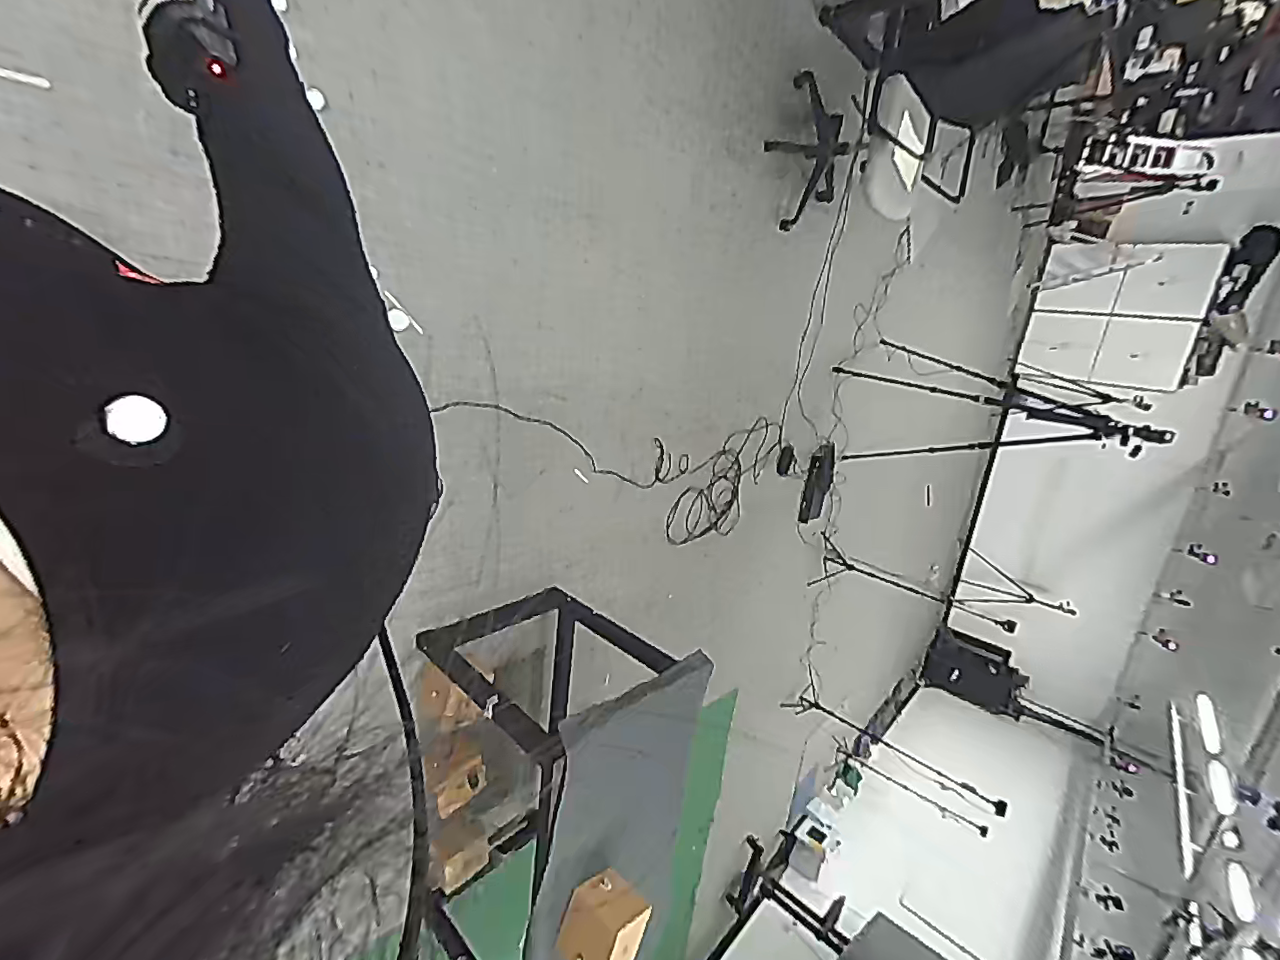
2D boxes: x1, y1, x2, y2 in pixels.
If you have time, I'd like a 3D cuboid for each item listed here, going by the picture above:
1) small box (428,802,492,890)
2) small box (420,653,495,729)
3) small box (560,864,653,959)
[{"bbox_3d":[-0.680,1.368,2.030,0.179,0.176,0.168,-17,118,-44],"label":"small box"},{"bbox_3d":[-0.622,0.704,1.835,0.168,0.176,0.179,7,98,-50],"label":"small box"},{"bbox_3d":[-0.098,1.226,1.499,0.168,0.176,0.179,19,89,-54],"label":"small box"}]
